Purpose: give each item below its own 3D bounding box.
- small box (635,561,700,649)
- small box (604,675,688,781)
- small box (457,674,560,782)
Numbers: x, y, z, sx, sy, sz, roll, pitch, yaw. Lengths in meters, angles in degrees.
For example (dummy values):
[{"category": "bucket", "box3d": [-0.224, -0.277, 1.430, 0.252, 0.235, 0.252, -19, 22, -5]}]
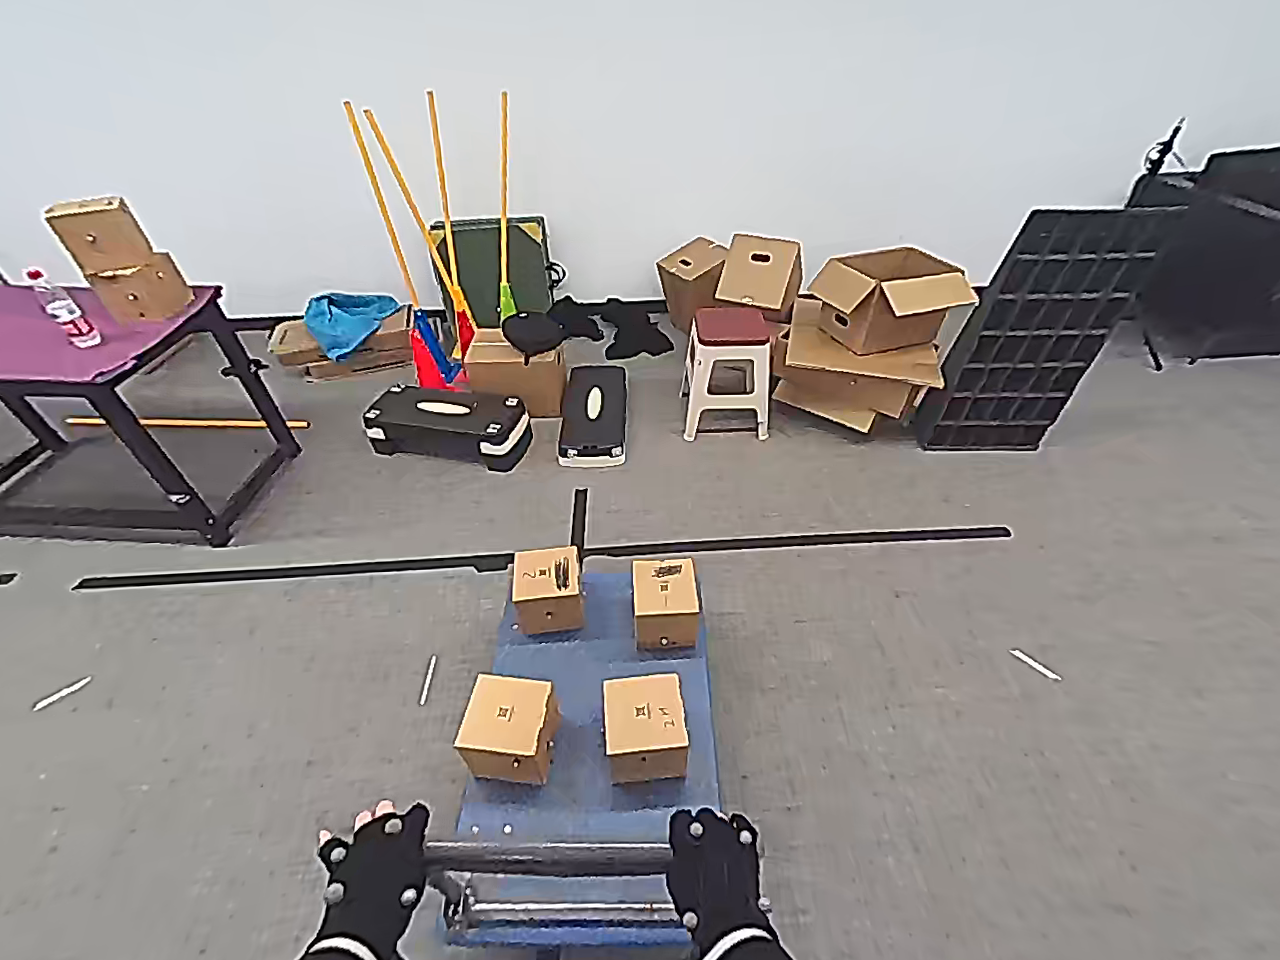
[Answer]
[{"category": "small box", "box3d": [0.070, 0.344, 1.486, 0.168, 0.176, 0.179, -2, 44, -1]}, {"category": "small box", "box3d": [0.012, 0.571, 1.239, 0.179, 0.176, 0.168, -4, 43, -3]}, {"category": "small box", "box3d": [-0.292, 0.572, 1.244, 0.179, 0.176, 0.168, 5, 43, 5]}]
